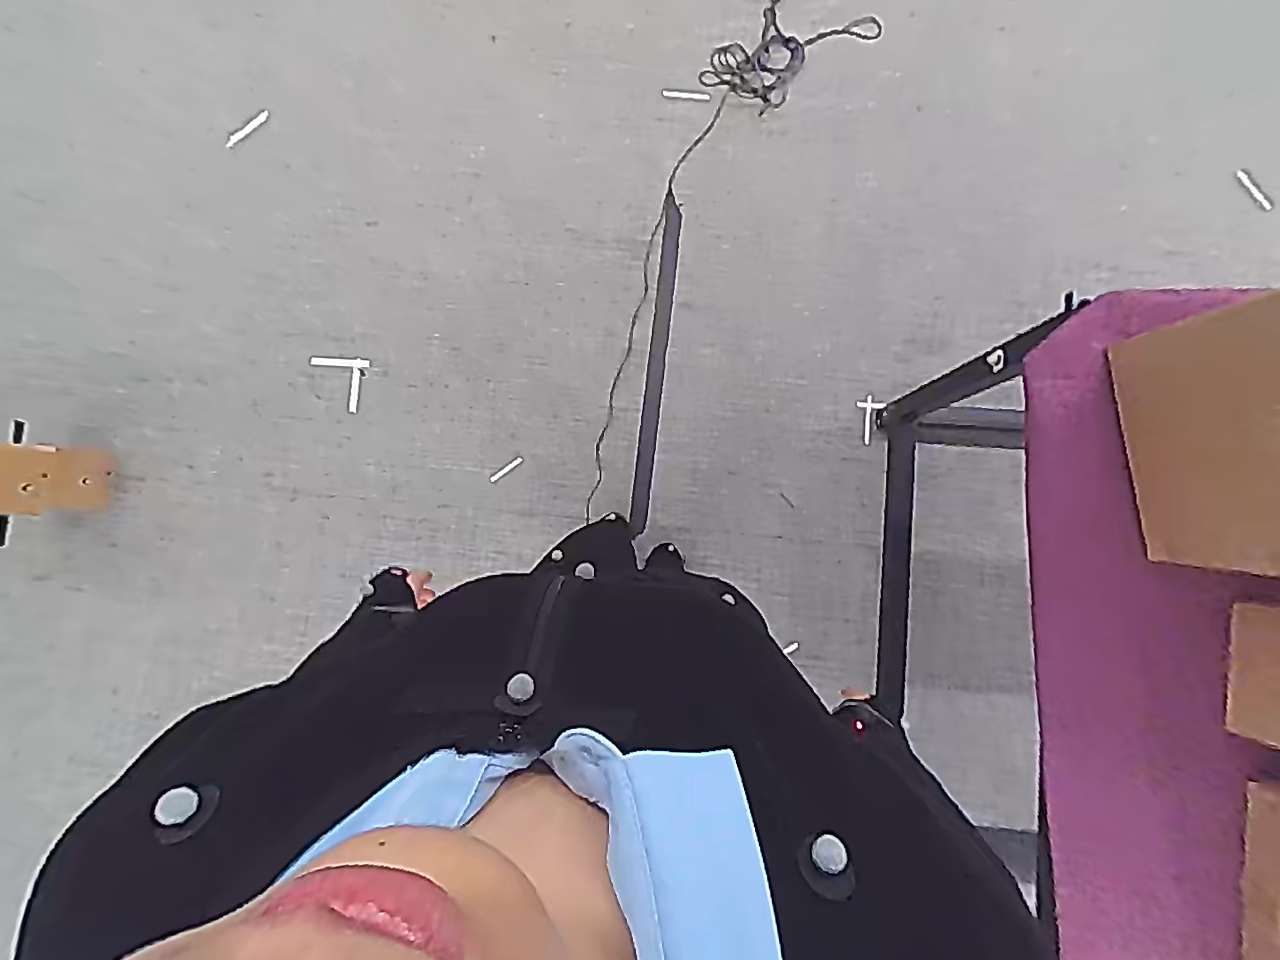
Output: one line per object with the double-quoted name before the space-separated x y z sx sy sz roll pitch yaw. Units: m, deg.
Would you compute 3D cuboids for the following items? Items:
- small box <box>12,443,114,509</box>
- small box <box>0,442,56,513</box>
"small box" -1.607 -0.007 1.478 0.179 0.176 0.168 4 85 3
"small box" -1.608 -0.013 1.315 0.179 0.176 0.168 10 86 2
